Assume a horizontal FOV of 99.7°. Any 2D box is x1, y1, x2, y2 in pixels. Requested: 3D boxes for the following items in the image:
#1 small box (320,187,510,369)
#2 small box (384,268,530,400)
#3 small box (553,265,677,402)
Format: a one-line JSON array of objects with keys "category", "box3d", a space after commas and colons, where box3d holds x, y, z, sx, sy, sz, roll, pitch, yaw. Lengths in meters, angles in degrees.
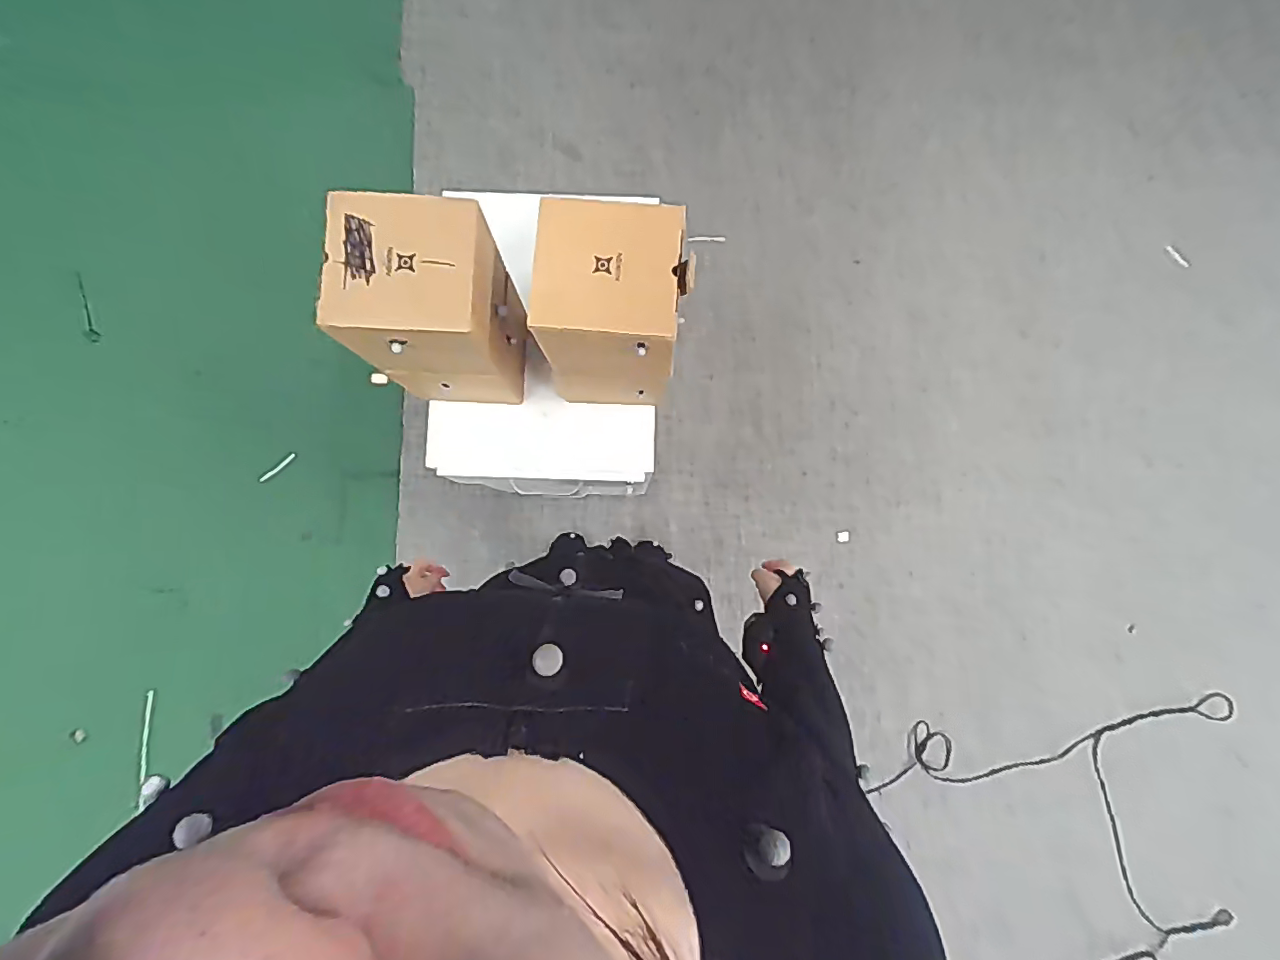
[{"category": "small box", "box3d": [-0.277, -0.248, 0.702, 0.179, 0.176, 0.168, 2, 85, -3]}, {"category": "small box", "box3d": [-0.282, -0.229, 0.866, 0.179, 0.176, 0.168, 2, 85, -3]}, {"category": "small box", "box3d": [-0.036, -0.226, 0.872, 0.179, 0.176, 0.168, 2, 84, 1]}]
